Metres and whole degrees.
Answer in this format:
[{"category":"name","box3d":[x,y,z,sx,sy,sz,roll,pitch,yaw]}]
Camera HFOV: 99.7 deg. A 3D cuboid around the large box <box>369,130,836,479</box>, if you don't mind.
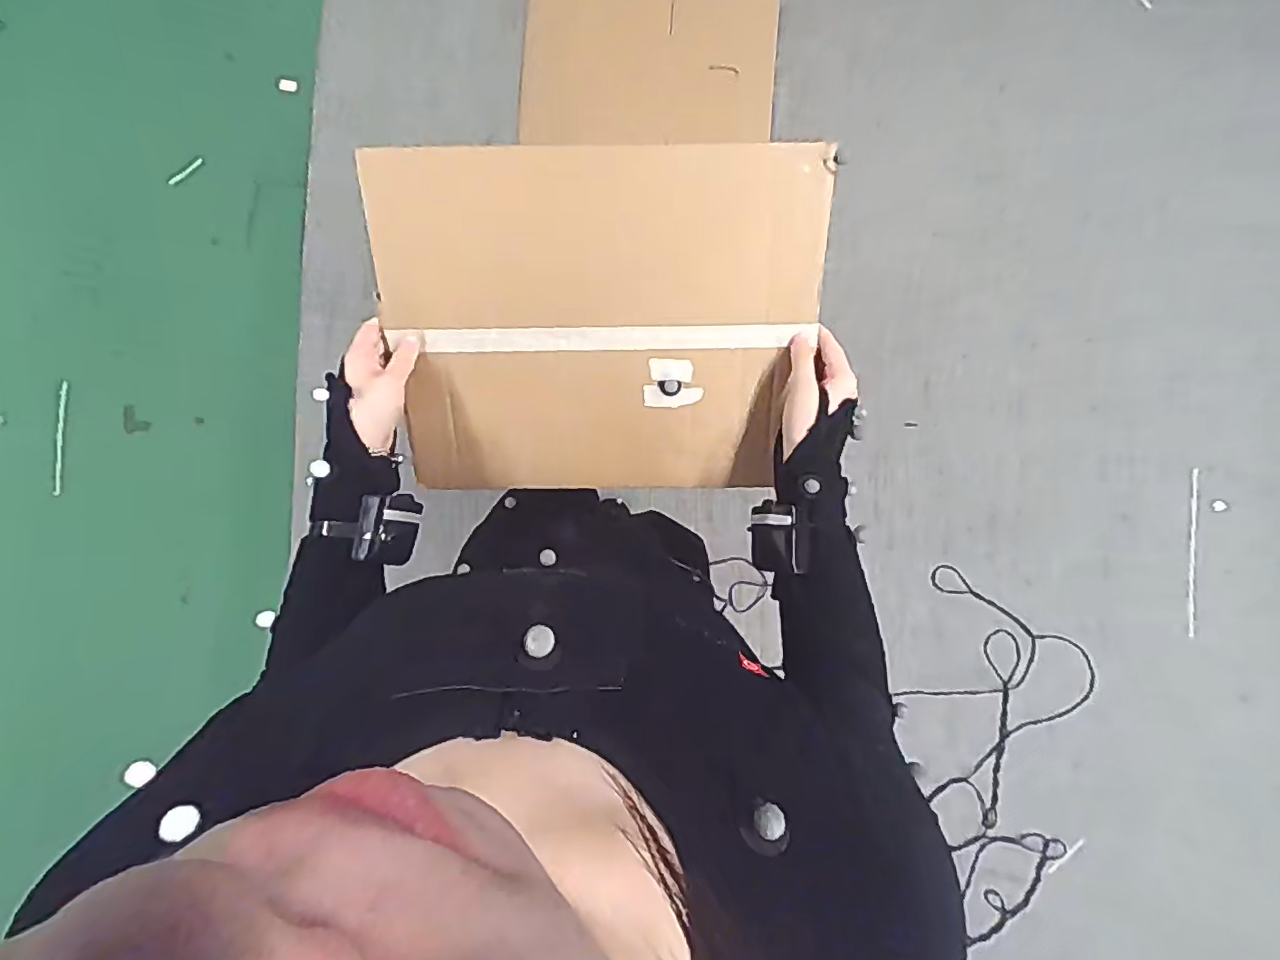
[{"category":"large box","box3d":[-0.032,-0.204,0.648,0.408,0.320,0.320,-1,114,-1]}]
